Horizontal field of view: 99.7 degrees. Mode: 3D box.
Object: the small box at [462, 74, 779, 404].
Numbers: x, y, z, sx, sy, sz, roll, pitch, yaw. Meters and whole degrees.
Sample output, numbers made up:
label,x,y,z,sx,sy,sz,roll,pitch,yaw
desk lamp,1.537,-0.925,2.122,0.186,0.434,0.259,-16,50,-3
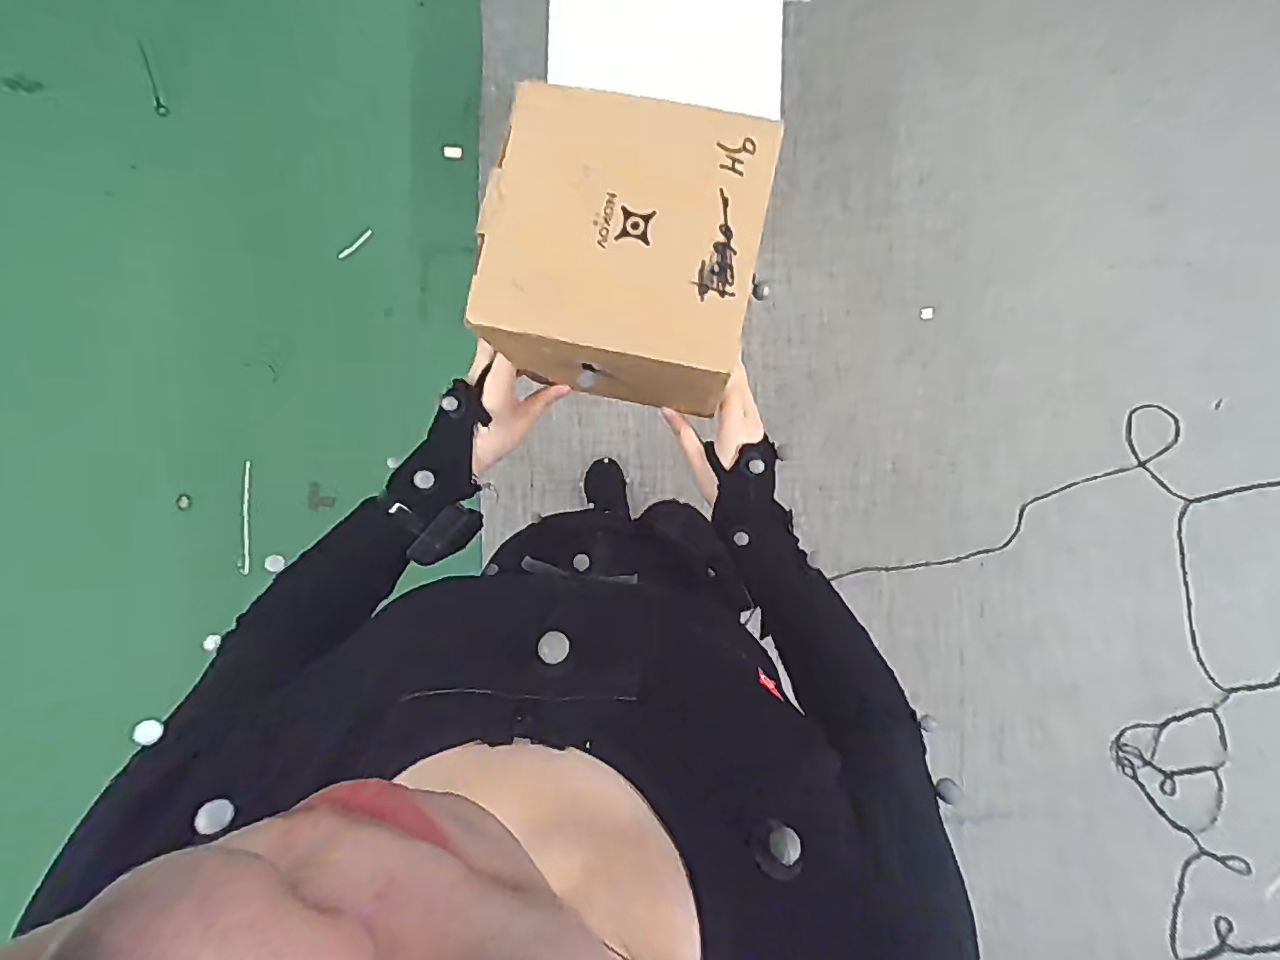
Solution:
label,x,y,z,sx,sy,sz,roll,pitch,yaw
small box,-0.007,-0.164,0.421,0.179,0.176,0.168,12,89,5
